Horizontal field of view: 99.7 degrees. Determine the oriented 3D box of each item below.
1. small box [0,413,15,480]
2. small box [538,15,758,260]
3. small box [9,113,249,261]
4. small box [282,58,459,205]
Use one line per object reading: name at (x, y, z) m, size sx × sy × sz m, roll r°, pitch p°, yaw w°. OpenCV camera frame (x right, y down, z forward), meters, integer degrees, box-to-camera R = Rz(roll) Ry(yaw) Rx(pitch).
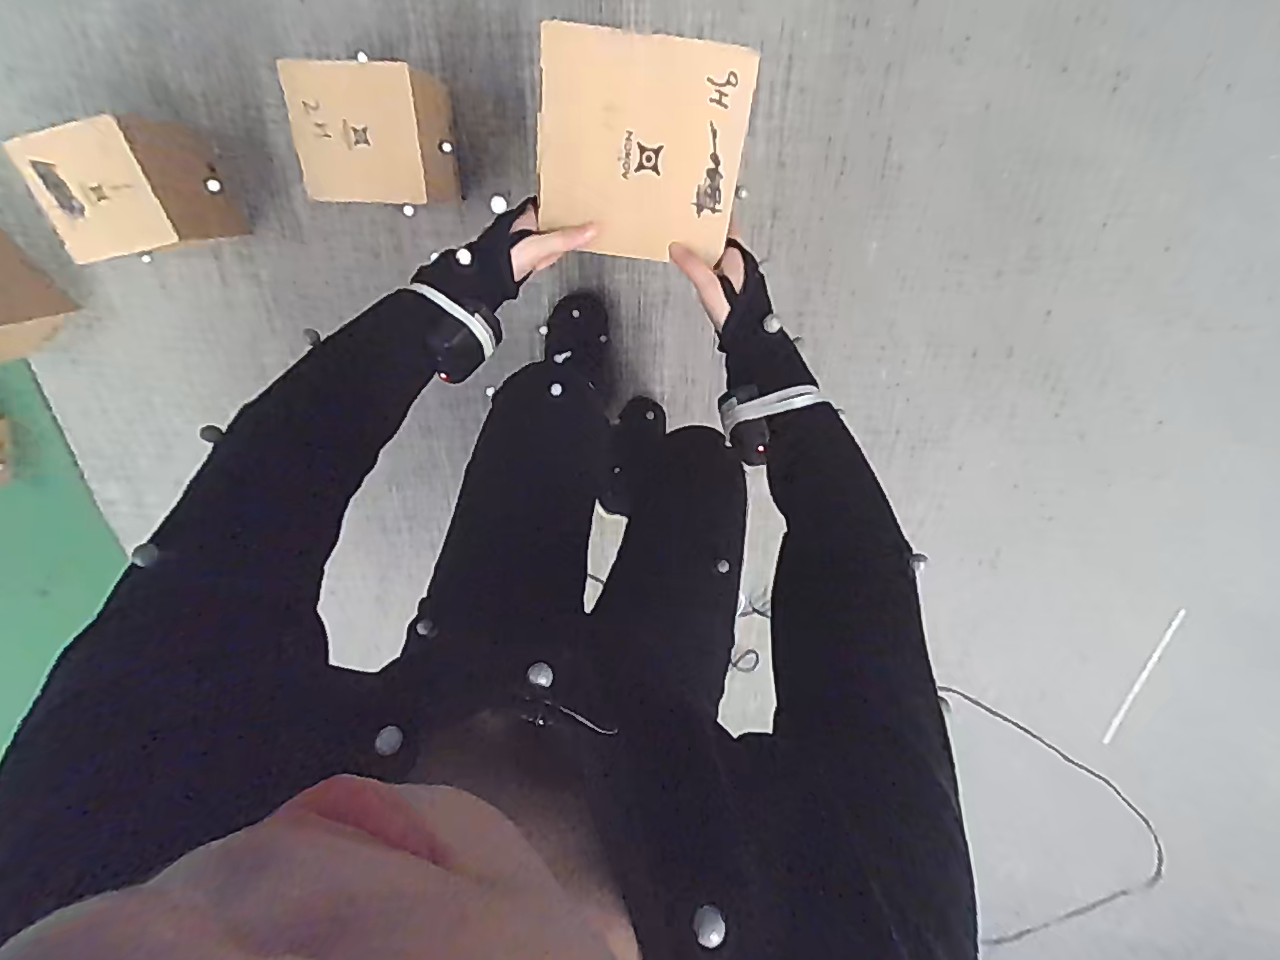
small box at (-1.403, -0.064, 1.056) m, size 0.179 × 0.176 × 0.168 m, roll 23°, pitch 116°, yaw -11°
small box at (0.006, -0.331, 0.539) m, size 0.179 × 0.176 × 0.168 m, roll 8°, pitch 123°, yaw 0°
small box at (-0.774, -0.449, 0.845) m, size 0.179 × 0.176 × 0.168 m, roll -9°, pitch 117°, yaw 5°
small box at (-0.382, -0.508, 0.809) m, size 0.179 × 0.176 × 0.168 m, roll 2°, pitch 117°, yaw 0°
